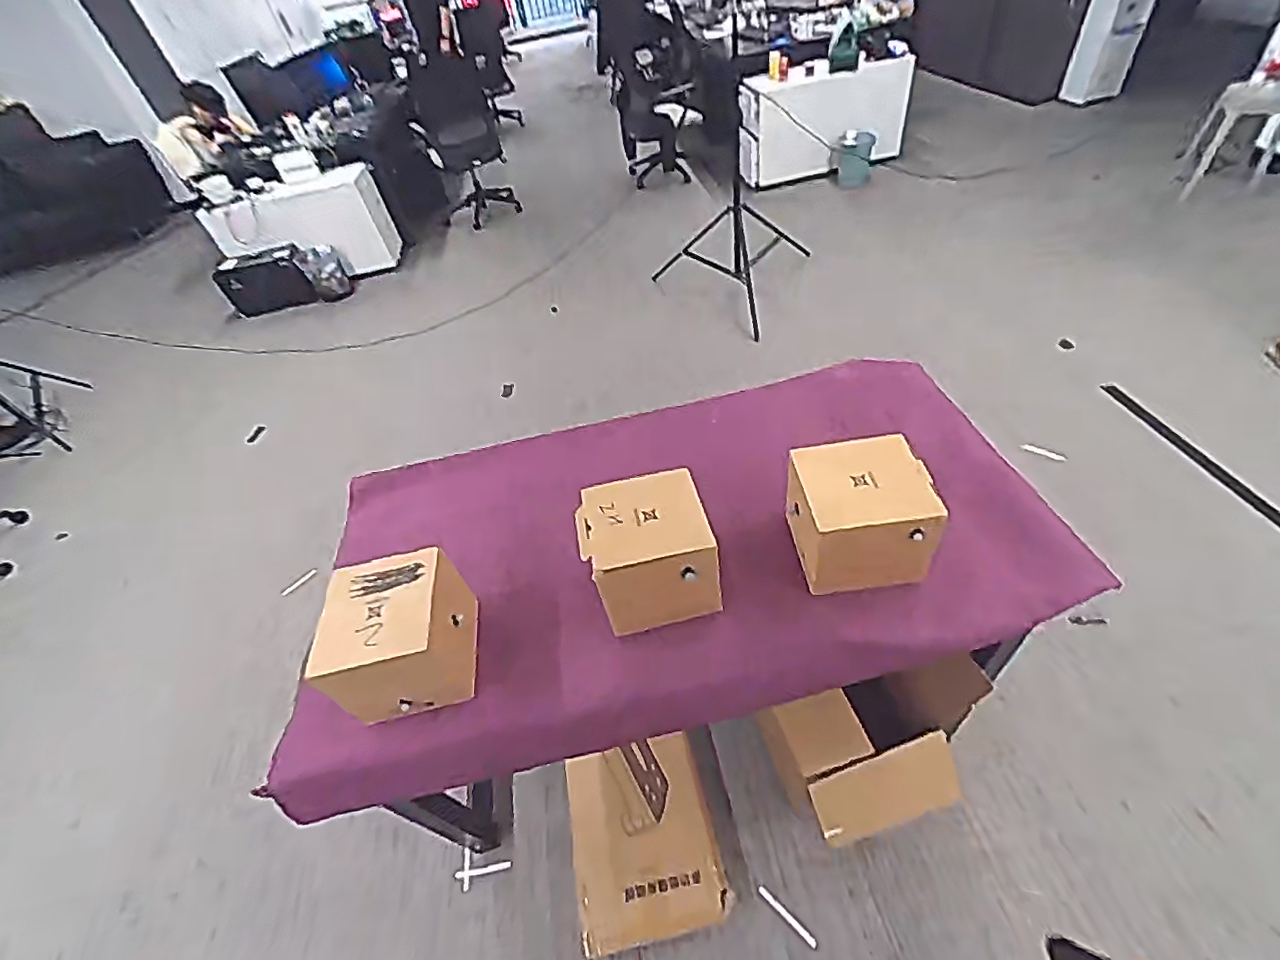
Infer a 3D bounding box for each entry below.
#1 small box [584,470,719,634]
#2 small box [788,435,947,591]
[{"bbox_3d":[0.020,0.114,0.845,0.179,0.176,0.168,-14,43,-1],"label":"small box"},{"bbox_3d":[0.334,0.056,0.836,0.179,0.176,0.168,-9,46,4],"label":"small box"}]
